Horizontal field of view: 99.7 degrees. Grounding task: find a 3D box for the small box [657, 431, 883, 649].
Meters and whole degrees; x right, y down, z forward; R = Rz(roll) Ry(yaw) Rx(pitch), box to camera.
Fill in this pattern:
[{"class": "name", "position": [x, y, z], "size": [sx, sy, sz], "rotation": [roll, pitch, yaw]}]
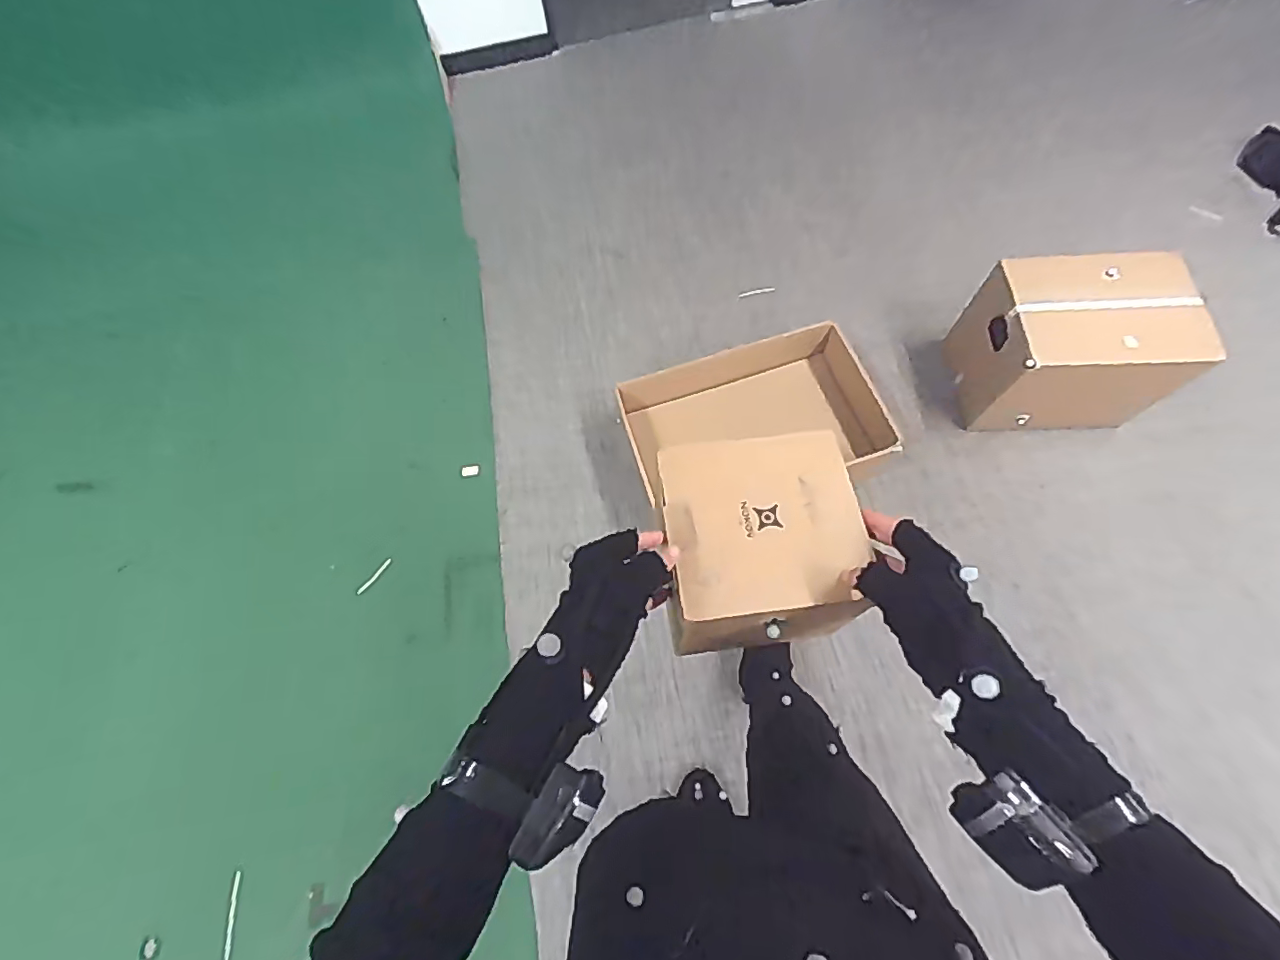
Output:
[{"class": "small box", "position": [0.114, 0.070, 0.563], "size": [0.179, 0.176, 0.168], "rotation": [-7, 64, -4]}]
